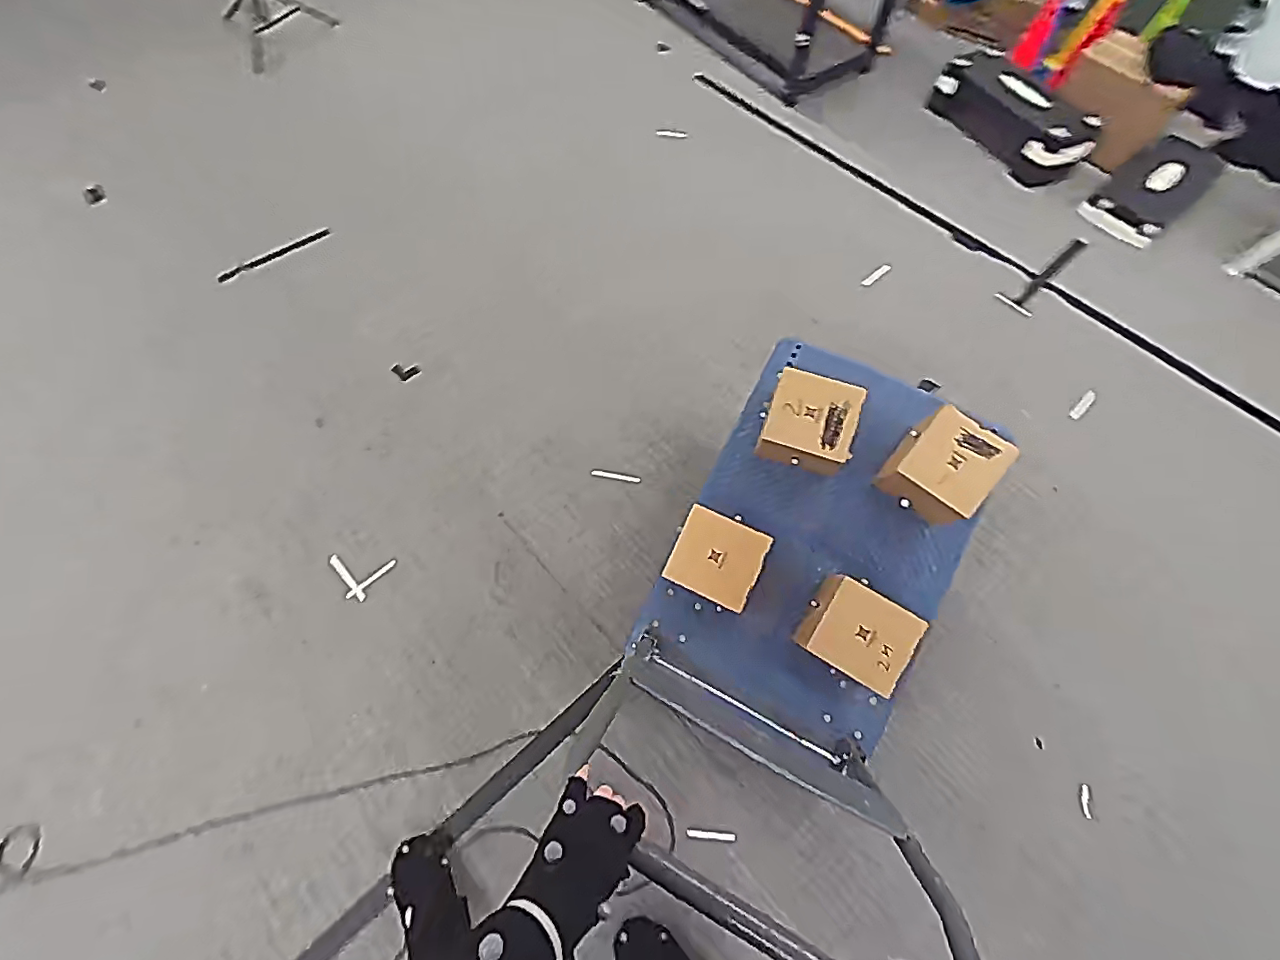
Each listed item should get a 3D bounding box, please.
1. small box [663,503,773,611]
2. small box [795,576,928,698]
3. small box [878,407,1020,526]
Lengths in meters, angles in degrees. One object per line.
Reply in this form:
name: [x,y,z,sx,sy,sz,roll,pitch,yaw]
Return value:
small box: [0.163,0.168,1.165,0.179,0.176,0.168,25,84,8]
small box: [0.440,0.313,1.108,0.179,0.176,0.168,31,85,11]
small box: [0.636,-0.021,1.142,0.168,0.176,0.179,38,87,11]
